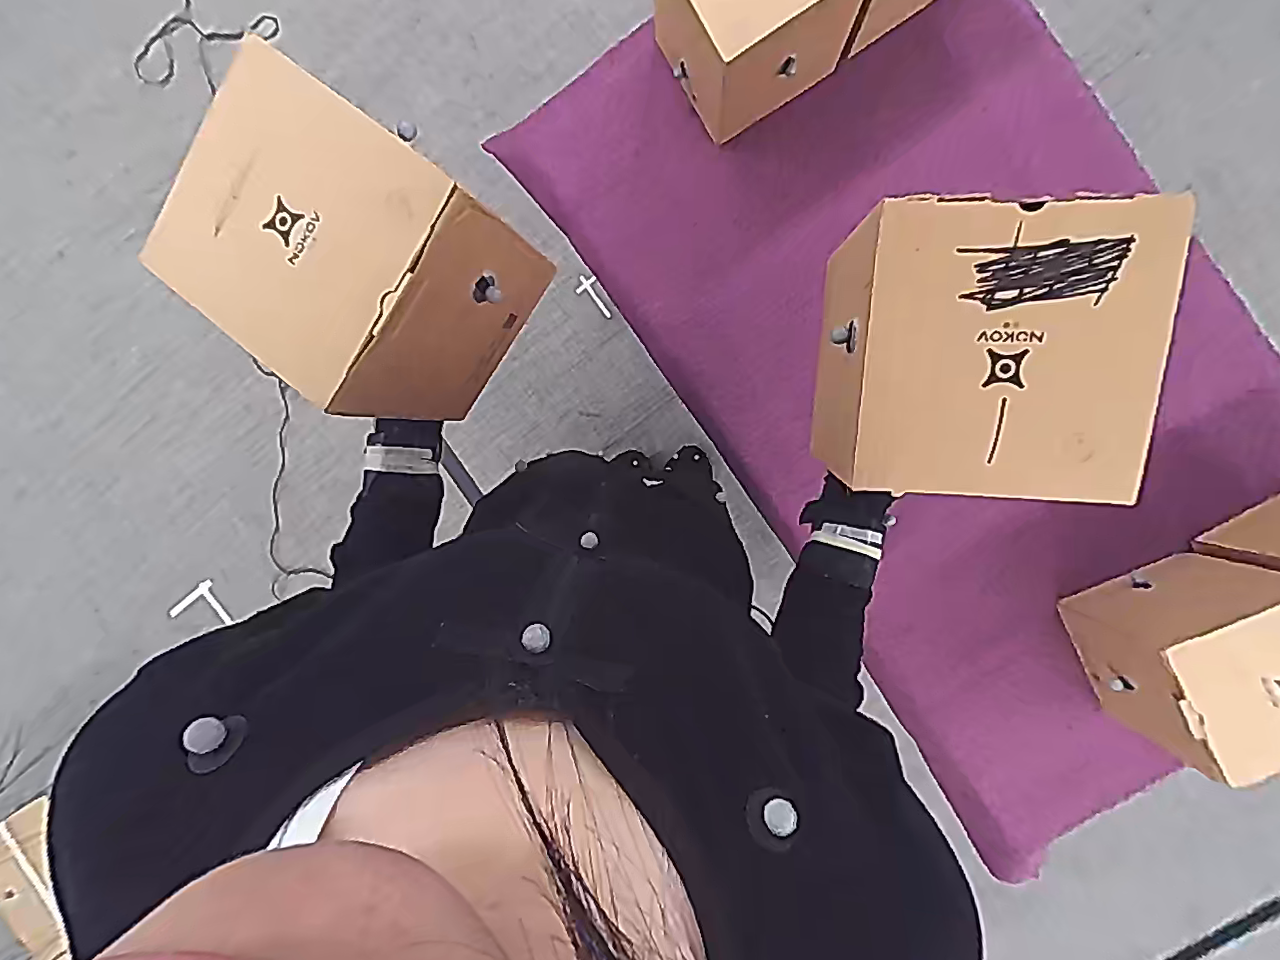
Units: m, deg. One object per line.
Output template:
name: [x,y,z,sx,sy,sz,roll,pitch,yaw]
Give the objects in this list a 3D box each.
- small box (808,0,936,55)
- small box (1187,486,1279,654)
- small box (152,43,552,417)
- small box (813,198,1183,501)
small box: [0.289,-0.645,0.604,0.179,0.176,0.168,-31,91,6]
small box: [0.815,0.105,0.621,0.179,0.176,0.168,-31,92,5]
small box: [-0.197,-0.163,0.417,0.179,0.176,0.168,37,100,7]
small box: [0.232,-0.091,0.406,0.168,0.176,0.179,3,101,8]
